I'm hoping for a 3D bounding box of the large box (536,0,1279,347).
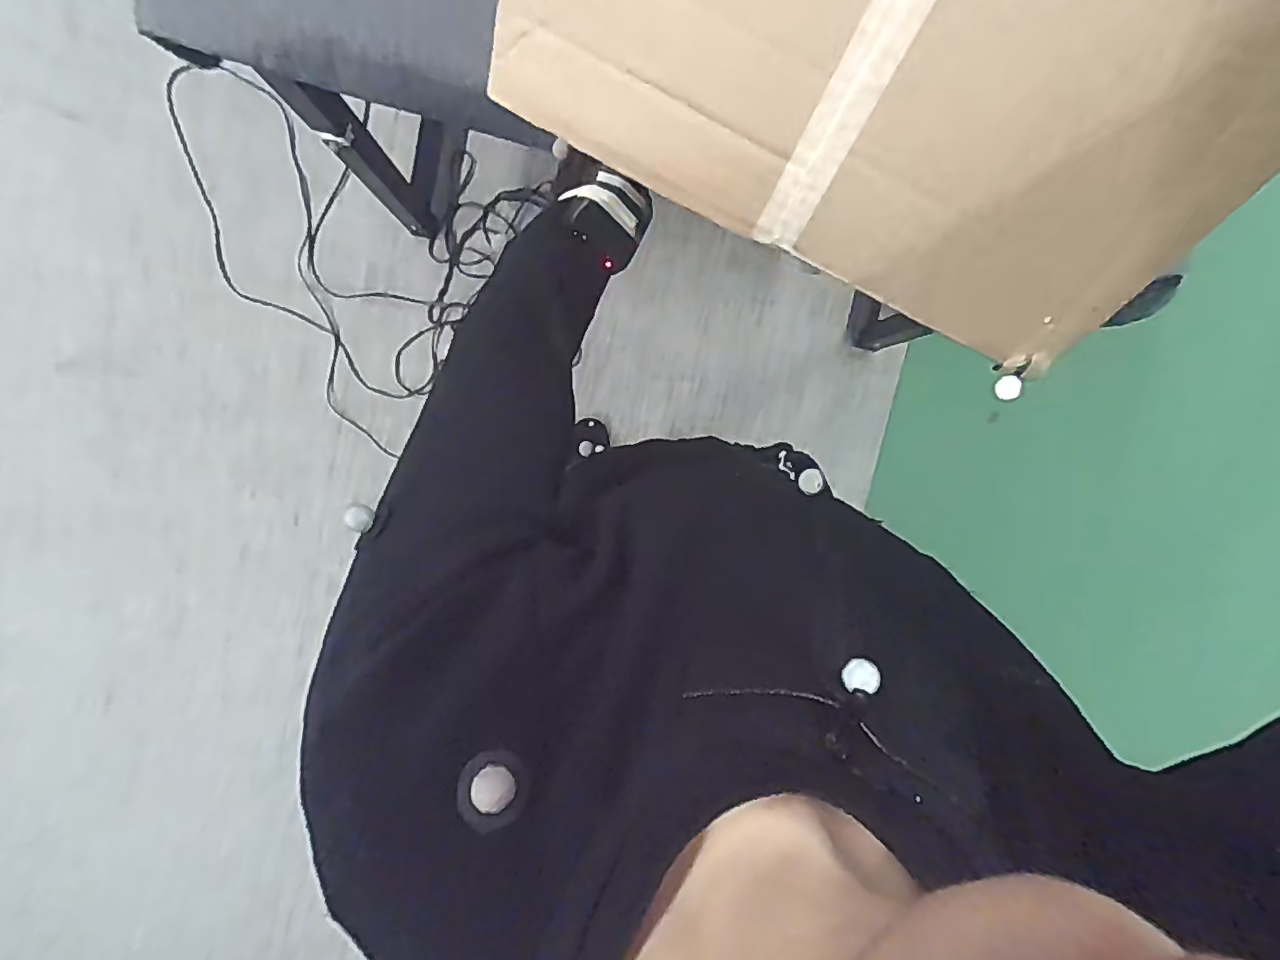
[{"bbox_3d":[0.183,-0.356,0.248,0.320,0.320,0.408,25,137,-2],"label":"large box"}]
